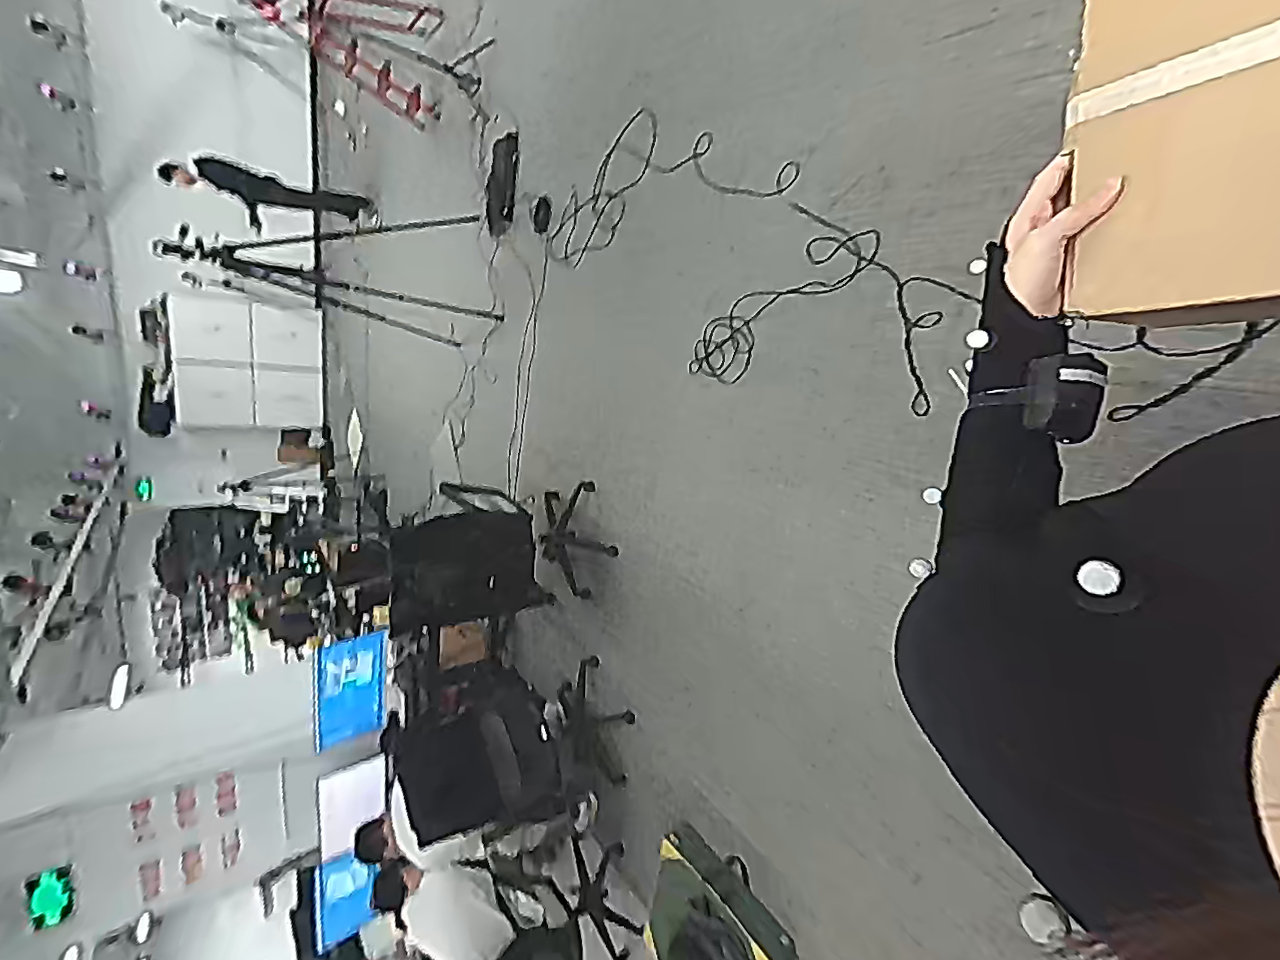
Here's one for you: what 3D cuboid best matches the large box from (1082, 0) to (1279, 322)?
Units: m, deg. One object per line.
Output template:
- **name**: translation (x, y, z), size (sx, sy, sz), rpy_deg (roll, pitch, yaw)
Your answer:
- **large box**: translation (0.585, -0.292, 0.349), size (0.408, 0.320, 0.320), rpy_deg (10, 106, 51)
